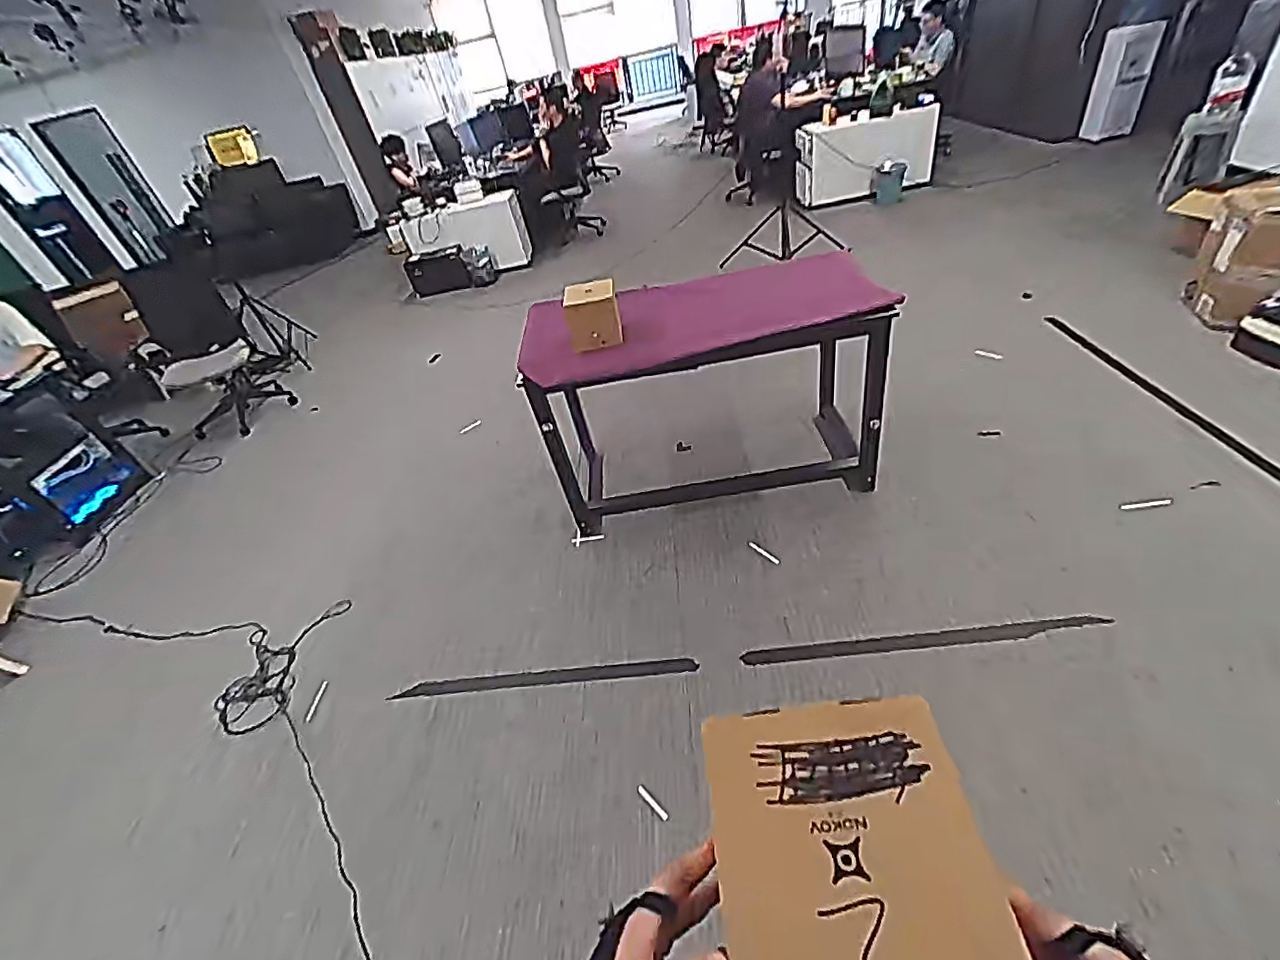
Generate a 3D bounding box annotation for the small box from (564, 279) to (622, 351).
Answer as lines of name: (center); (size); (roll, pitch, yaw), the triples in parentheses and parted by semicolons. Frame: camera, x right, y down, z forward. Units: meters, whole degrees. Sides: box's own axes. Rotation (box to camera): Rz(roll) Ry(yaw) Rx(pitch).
small box: (-0.156, -0.559, 1.835); (0.168, 0.176, 0.179); (-10, 39, 3)
